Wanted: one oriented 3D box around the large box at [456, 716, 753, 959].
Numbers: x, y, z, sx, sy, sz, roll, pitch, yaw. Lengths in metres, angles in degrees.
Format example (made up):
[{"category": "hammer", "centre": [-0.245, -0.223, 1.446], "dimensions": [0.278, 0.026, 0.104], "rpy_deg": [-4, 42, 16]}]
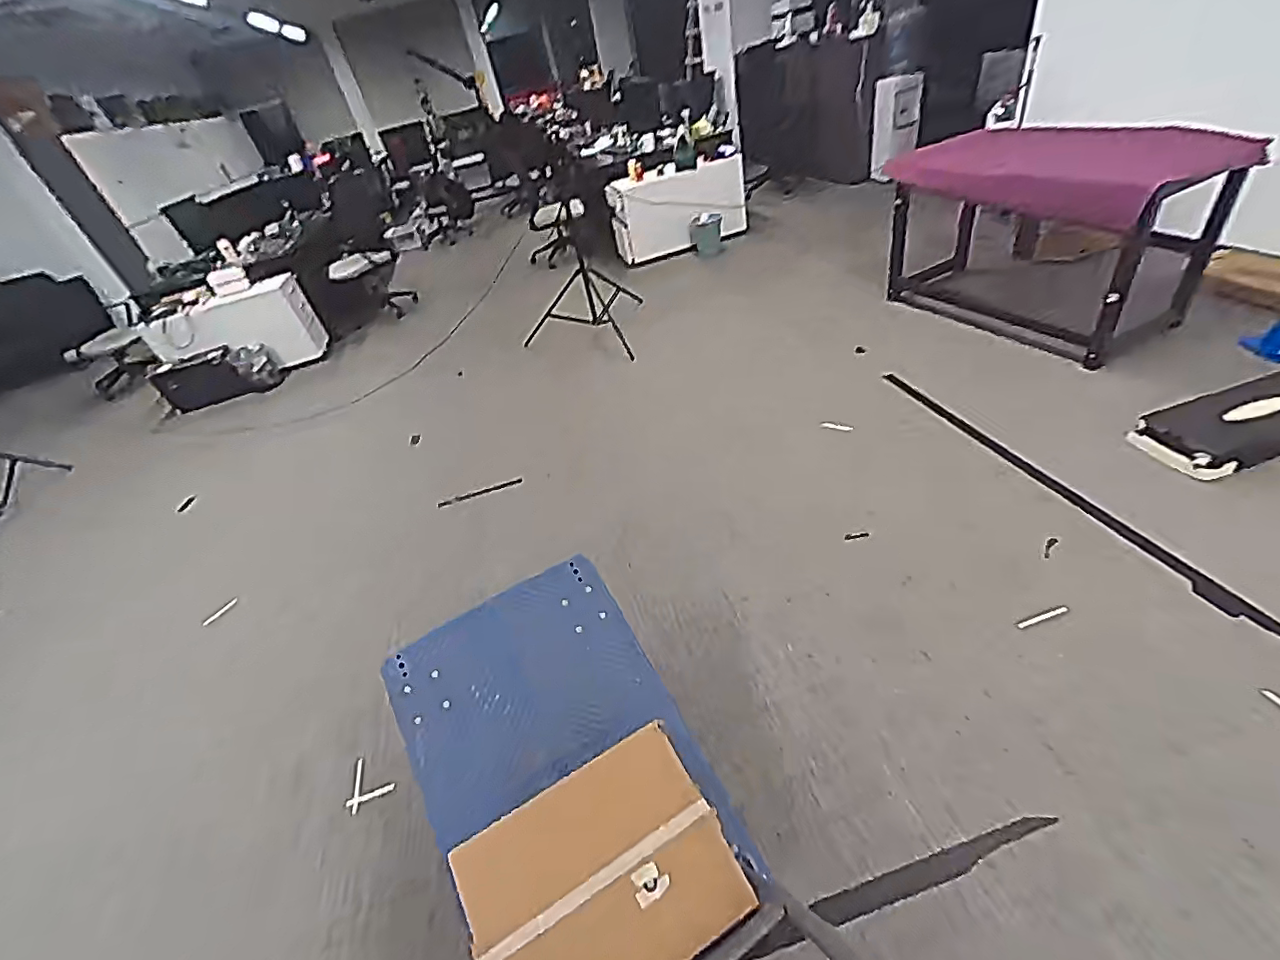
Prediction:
[{"category": "large box", "centre": [-0.062, 0.716, 1.008], "dimensions": [0.408, 0.320, 0.320], "rpy_deg": [-27, 63, -17]}]
